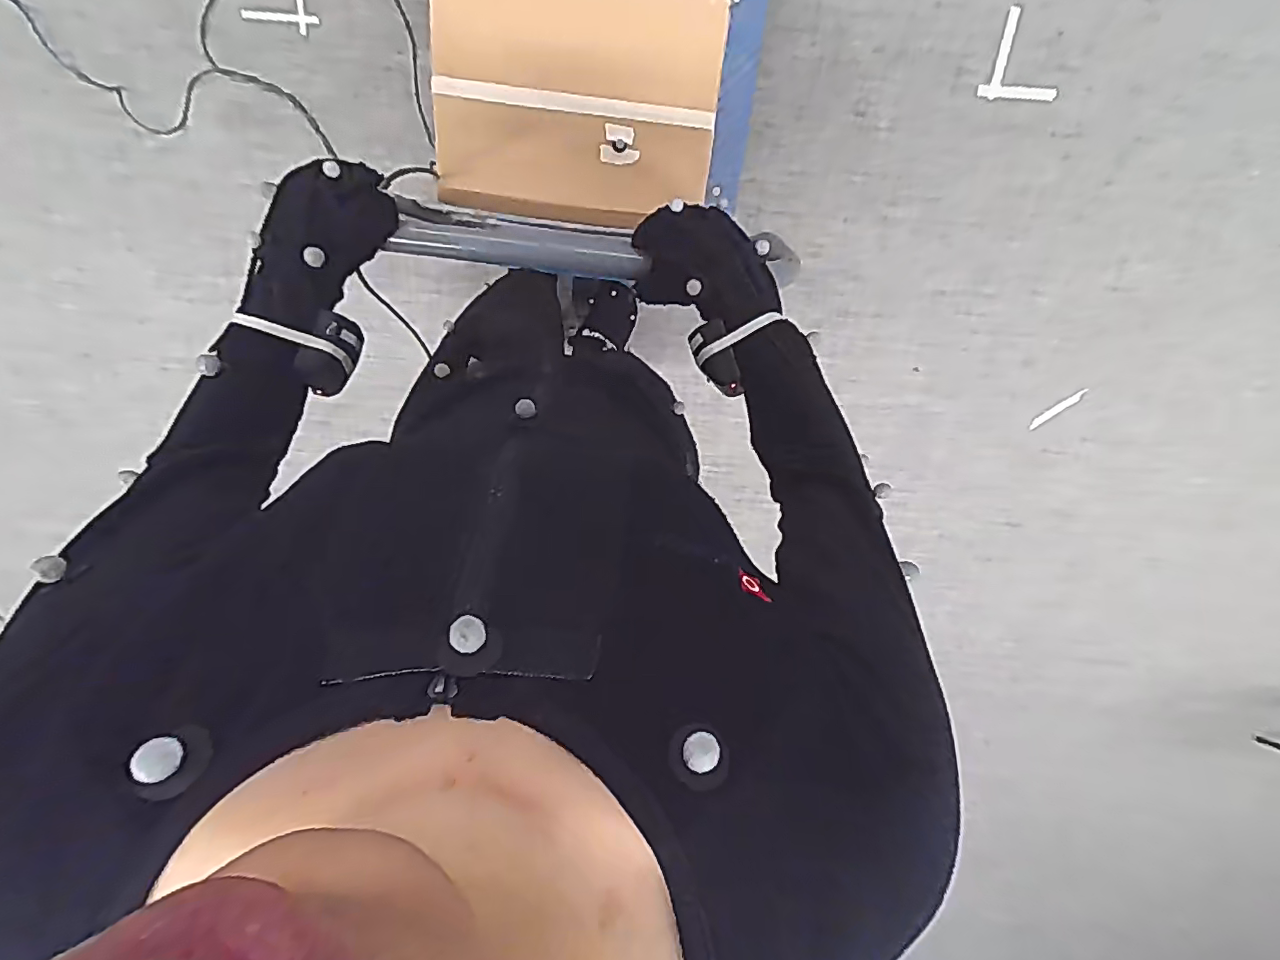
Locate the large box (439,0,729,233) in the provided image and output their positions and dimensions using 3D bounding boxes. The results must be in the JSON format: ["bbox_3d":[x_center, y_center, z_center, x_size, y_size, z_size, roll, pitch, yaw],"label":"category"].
[{"bbox_3d":[-0.095,-0.613,0.926,0.408,0.320,0.320,4,114,-5],"label":"large box"}]
